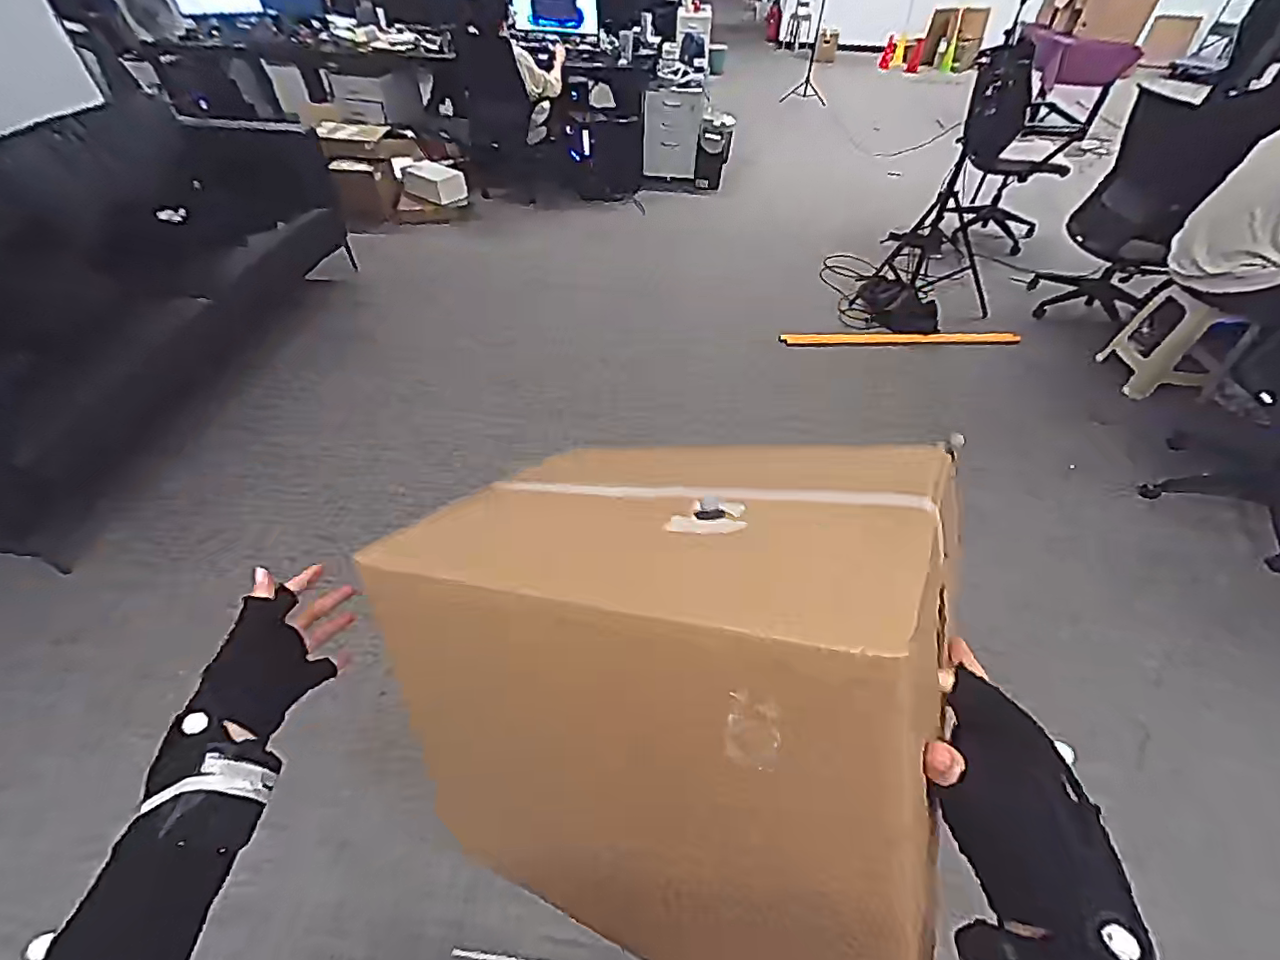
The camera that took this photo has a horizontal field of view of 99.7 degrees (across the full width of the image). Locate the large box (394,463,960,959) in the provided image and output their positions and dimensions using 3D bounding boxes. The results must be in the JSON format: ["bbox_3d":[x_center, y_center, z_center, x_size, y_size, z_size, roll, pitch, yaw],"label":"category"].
[{"bbox_3d":[0.054,0.171,0.504,0.408,0.320,0.320,2,19,34],"label":"large box"}]
